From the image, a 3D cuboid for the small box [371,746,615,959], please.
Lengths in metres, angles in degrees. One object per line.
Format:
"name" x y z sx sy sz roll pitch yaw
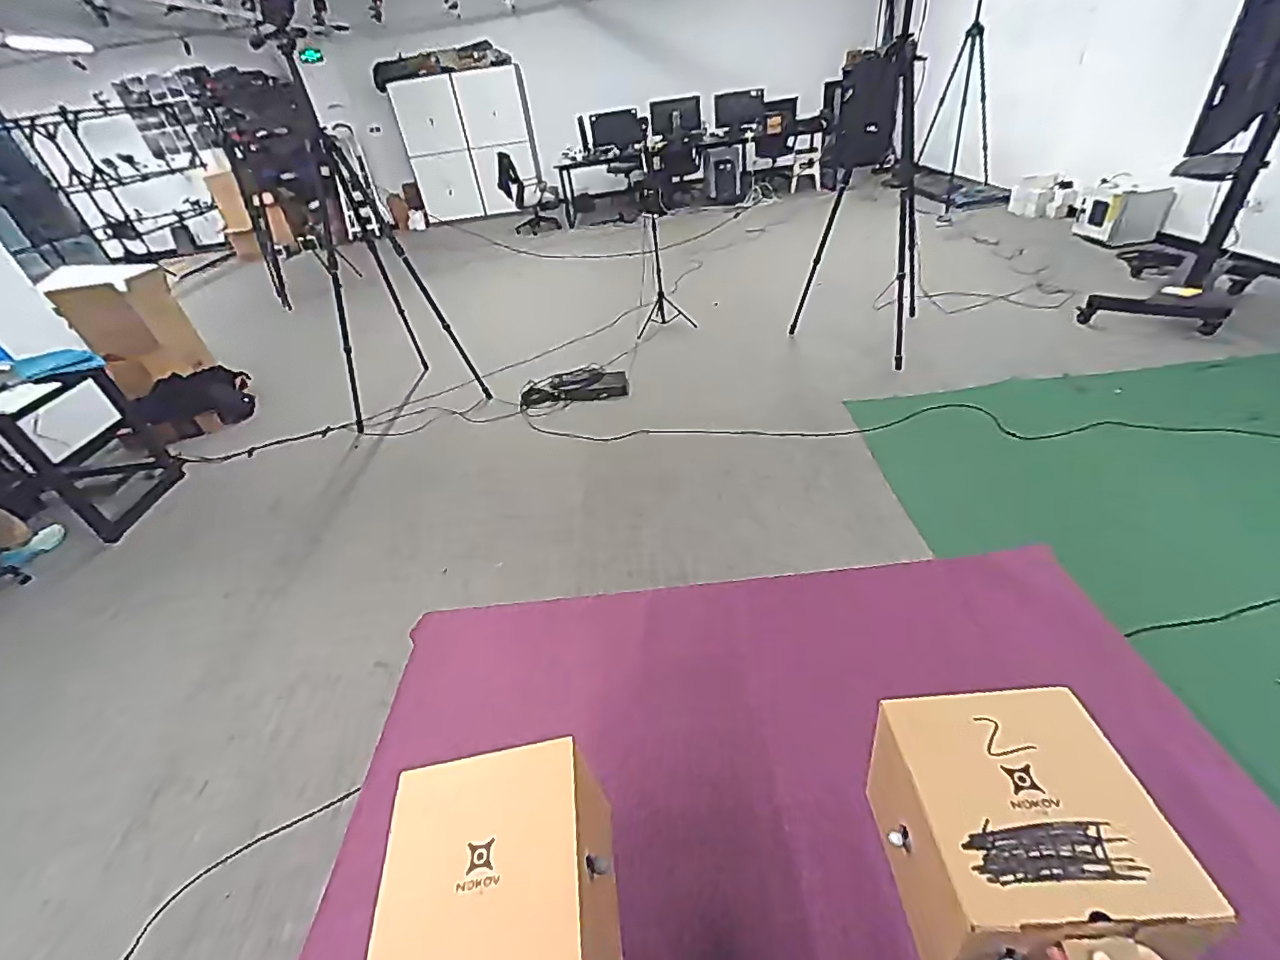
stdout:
"small box" -0.122 0.383 0.503 0.168 0.176 0.179 -12 42 -1
